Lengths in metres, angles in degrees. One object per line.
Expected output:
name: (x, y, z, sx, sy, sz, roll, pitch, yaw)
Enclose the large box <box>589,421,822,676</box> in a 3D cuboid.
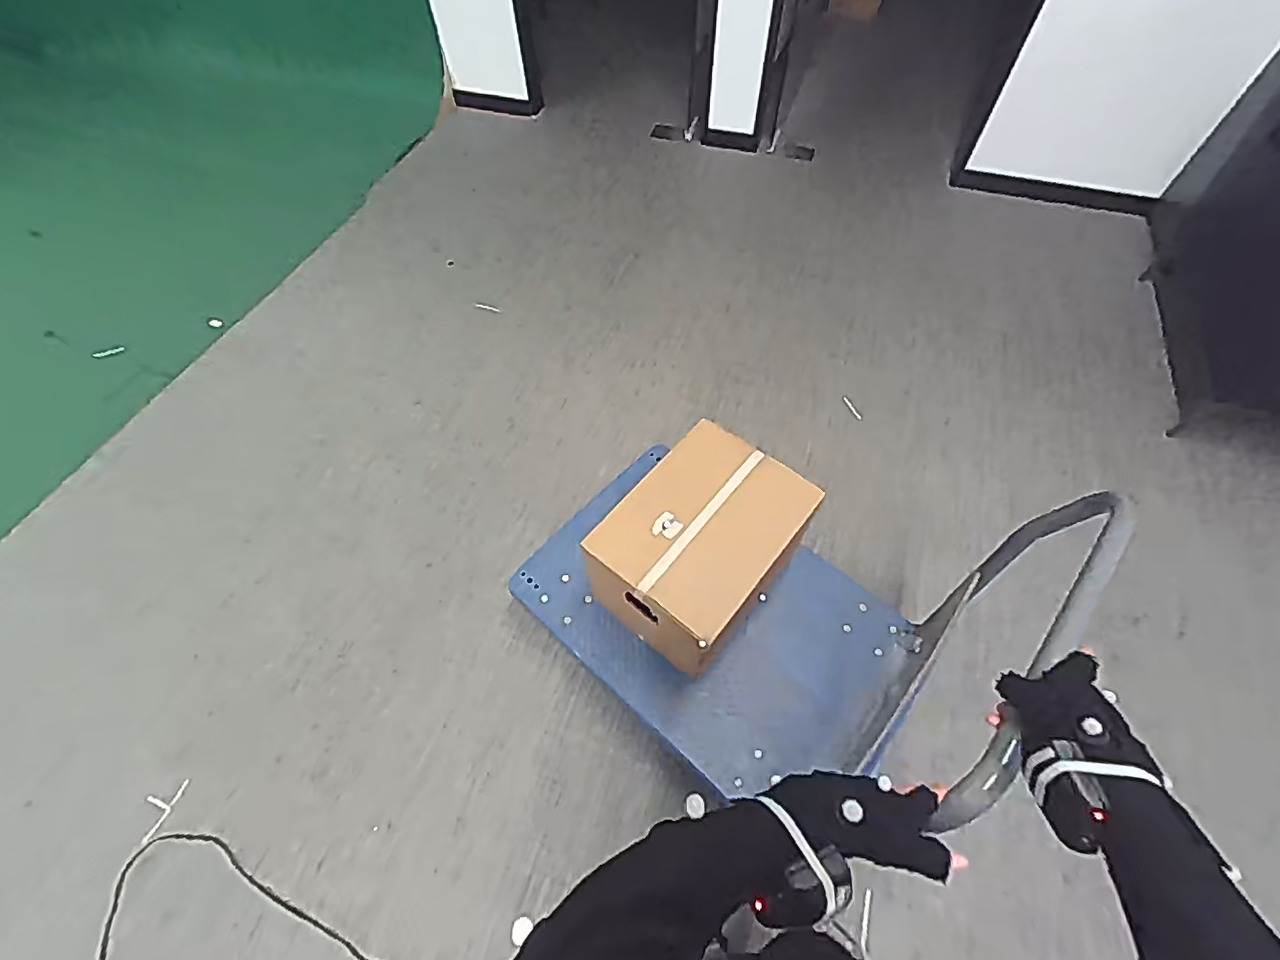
large box: (0.141, 0.155, 1.207, 0.320, 0.320, 0.408, 34, 66, 21)
